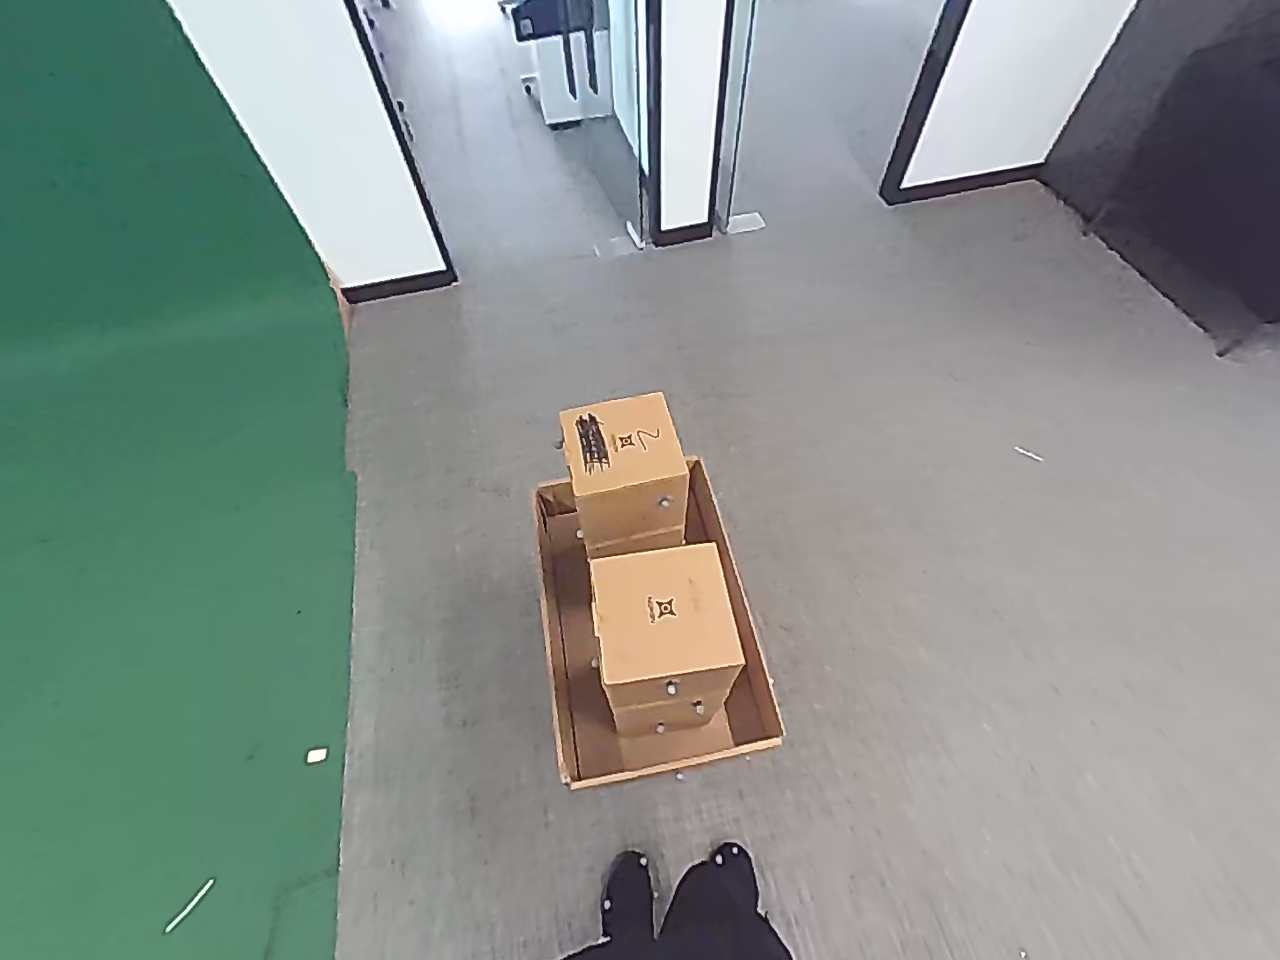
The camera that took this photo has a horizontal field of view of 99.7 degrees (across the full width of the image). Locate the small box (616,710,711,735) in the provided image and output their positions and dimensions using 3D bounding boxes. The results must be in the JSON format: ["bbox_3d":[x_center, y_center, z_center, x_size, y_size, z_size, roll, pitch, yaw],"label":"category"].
[{"bbox_3d":[0.038,0.378,1.031,0.179,0.176,0.168,-9,58,-4],"label":"small box"}]

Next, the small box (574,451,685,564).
[{"bbox_3d":[-0.020,0.071,1.032,0.179,0.176,0.168,-12,59,-5],"label":"small box"}]

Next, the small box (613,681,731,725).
[{"bbox_3d":[0.038,0.294,0.890,0.179,0.176,0.168,-8,57,-3],"label":"small box"}]

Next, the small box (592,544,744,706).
[{"bbox_3d":[0.033,0.206,0.752,0.179,0.176,0.168,-7,59,-3],"label":"small box"}]
